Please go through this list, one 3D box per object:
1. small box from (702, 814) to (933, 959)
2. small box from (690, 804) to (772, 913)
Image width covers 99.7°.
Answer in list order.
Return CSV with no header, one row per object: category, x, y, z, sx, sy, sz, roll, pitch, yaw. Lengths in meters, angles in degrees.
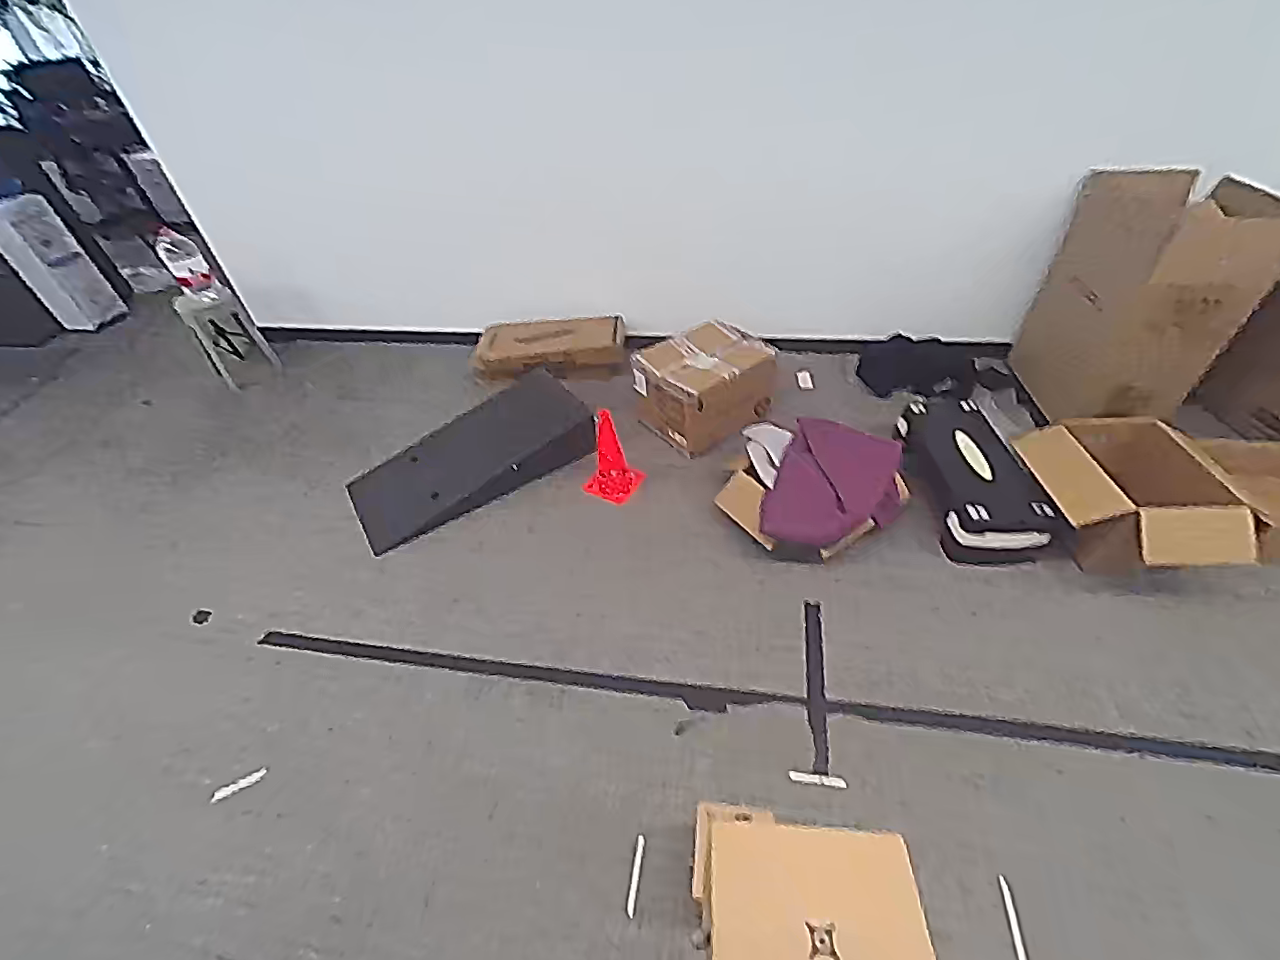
small box,0.138,0.418,0.455,0.168,0.176,0.179,2,37,6
small box,0.200,0.837,1.173,0.168,0.176,0.179,3,44,10
